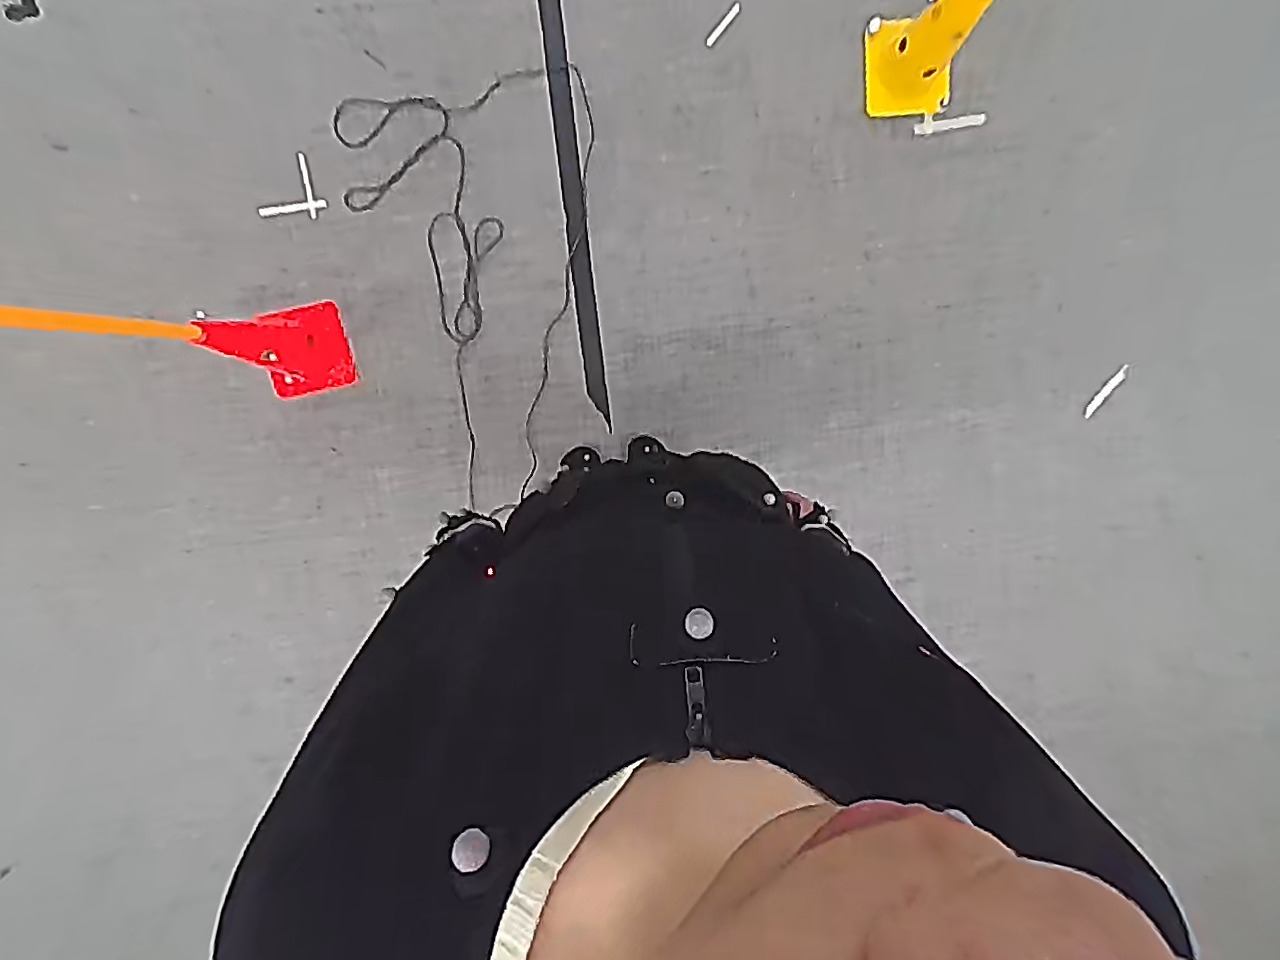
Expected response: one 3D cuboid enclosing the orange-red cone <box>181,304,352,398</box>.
[{"bbox_3d":[-0.785,-0.279,1.106,0.199,0.360,0.198,-12,99,-2],"label":"orange-red cone"}]
